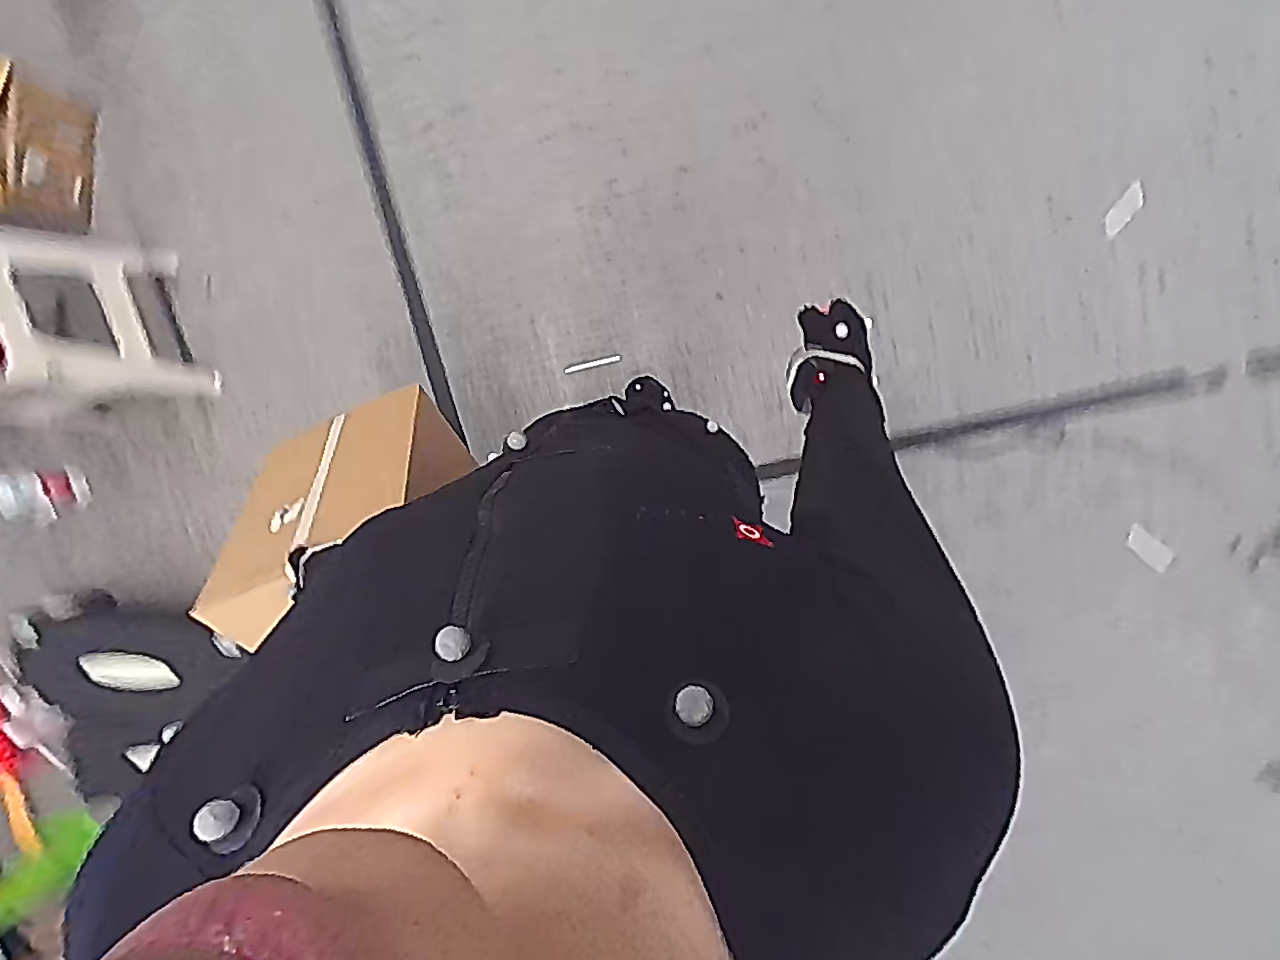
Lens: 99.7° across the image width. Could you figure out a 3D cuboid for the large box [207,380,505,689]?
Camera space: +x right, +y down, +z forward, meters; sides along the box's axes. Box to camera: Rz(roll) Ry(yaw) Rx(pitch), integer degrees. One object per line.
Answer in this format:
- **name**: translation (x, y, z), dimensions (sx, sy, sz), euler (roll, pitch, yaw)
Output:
- **large box**: translation (-0.464, 0.089, 0.985), dimensions (0.320, 0.408, 0.320), euler (-23, 132, 2)
